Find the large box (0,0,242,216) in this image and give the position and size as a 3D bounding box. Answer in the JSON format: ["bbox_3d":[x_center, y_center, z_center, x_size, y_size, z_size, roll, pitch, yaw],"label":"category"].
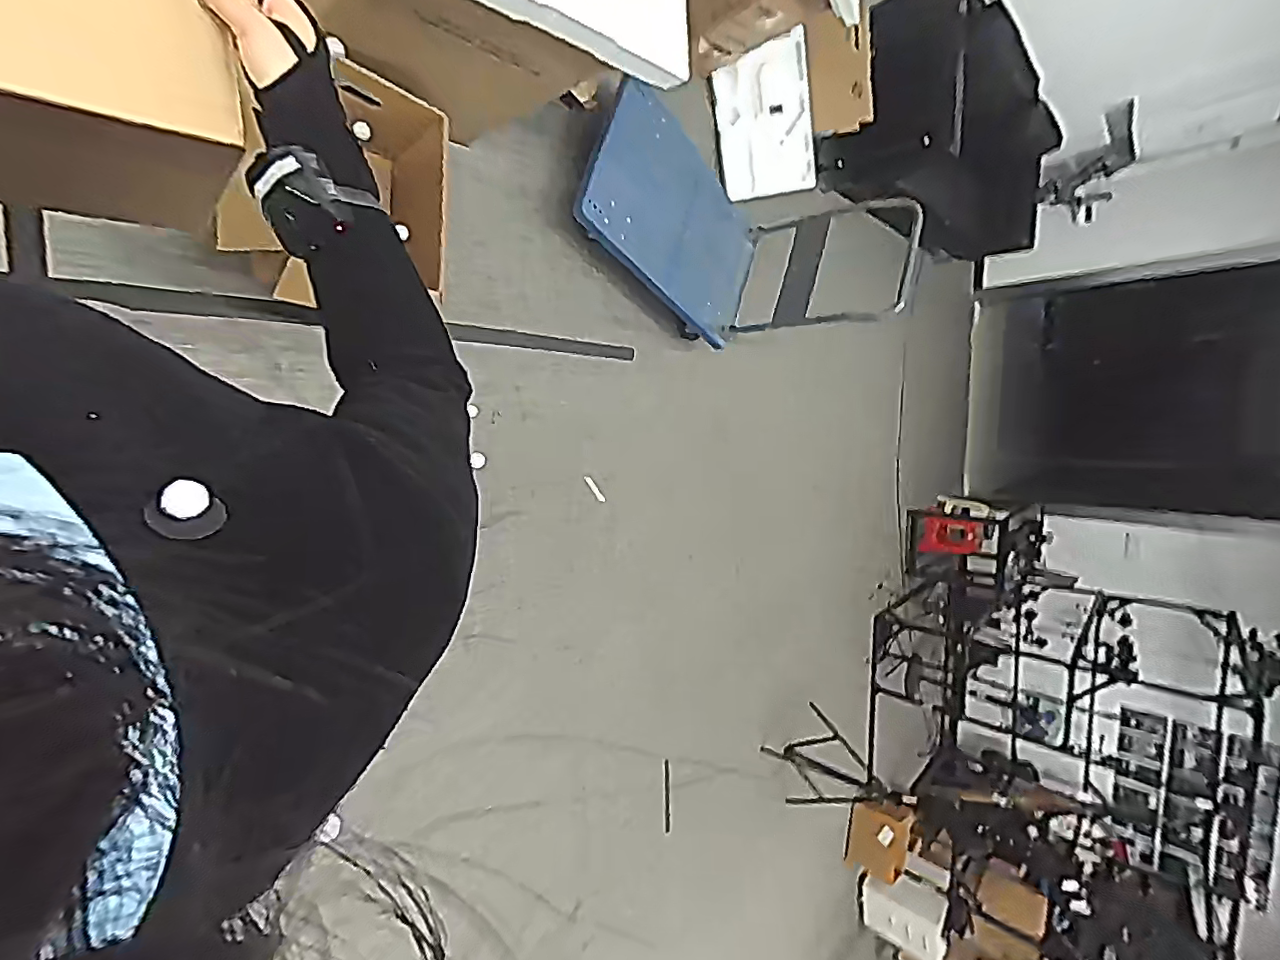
[{"bbox_3d":[-0.565,-0.407,0.374,0.408,0.320,0.320,-12,104,-43],"label":"large box"}]
